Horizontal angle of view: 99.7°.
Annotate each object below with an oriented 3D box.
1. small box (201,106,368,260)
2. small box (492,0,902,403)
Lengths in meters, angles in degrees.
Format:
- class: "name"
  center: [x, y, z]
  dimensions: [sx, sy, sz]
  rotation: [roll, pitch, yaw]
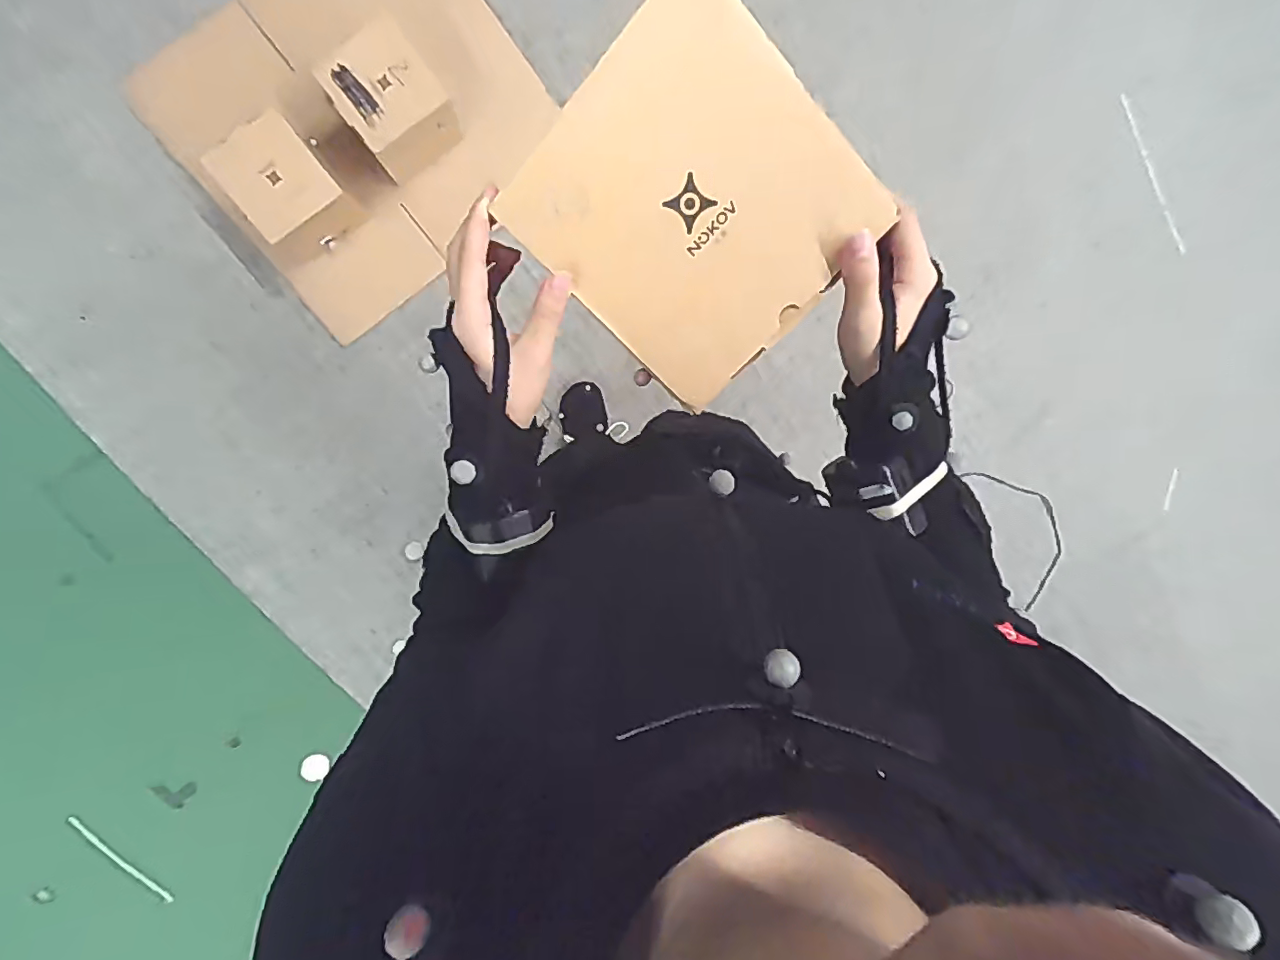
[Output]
- class: "small box"
  center: [-0.669, -0.558, 1.043]
  dimensions: [0.168, 0.176, 0.179]
  rotation: [-38, 105, -2]
- class: "small box"
  center: [0.032, -0.183, 0.379]
  dimensions: [0.179, 0.176, 0.168]
  rotation: [42, 105, -14]
